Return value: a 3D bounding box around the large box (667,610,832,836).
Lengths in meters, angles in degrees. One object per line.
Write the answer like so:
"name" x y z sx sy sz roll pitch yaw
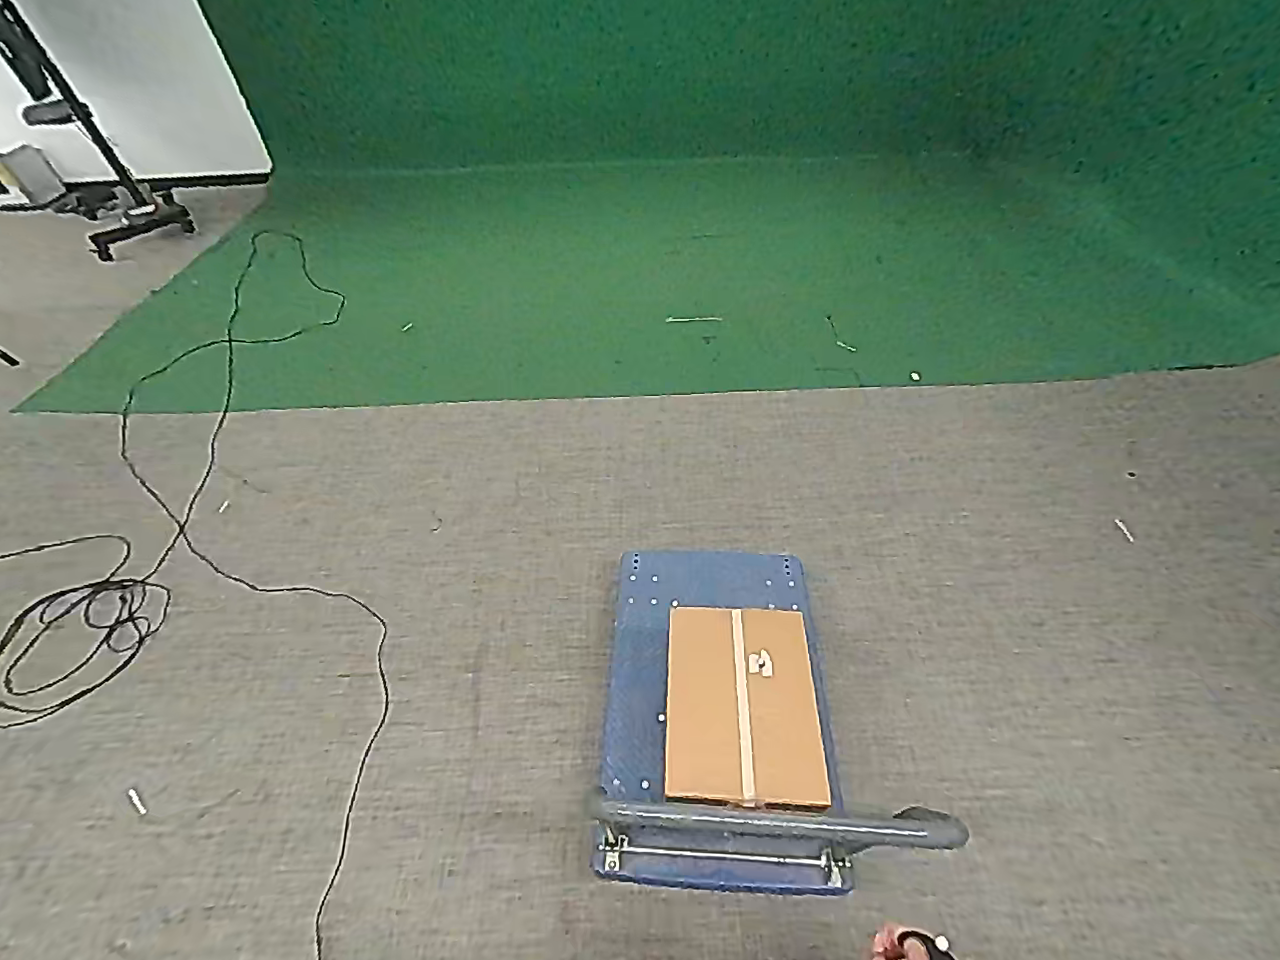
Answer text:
"large box" 0.220 0.560 1.254 0.320 0.320 0.408 2 46 3
